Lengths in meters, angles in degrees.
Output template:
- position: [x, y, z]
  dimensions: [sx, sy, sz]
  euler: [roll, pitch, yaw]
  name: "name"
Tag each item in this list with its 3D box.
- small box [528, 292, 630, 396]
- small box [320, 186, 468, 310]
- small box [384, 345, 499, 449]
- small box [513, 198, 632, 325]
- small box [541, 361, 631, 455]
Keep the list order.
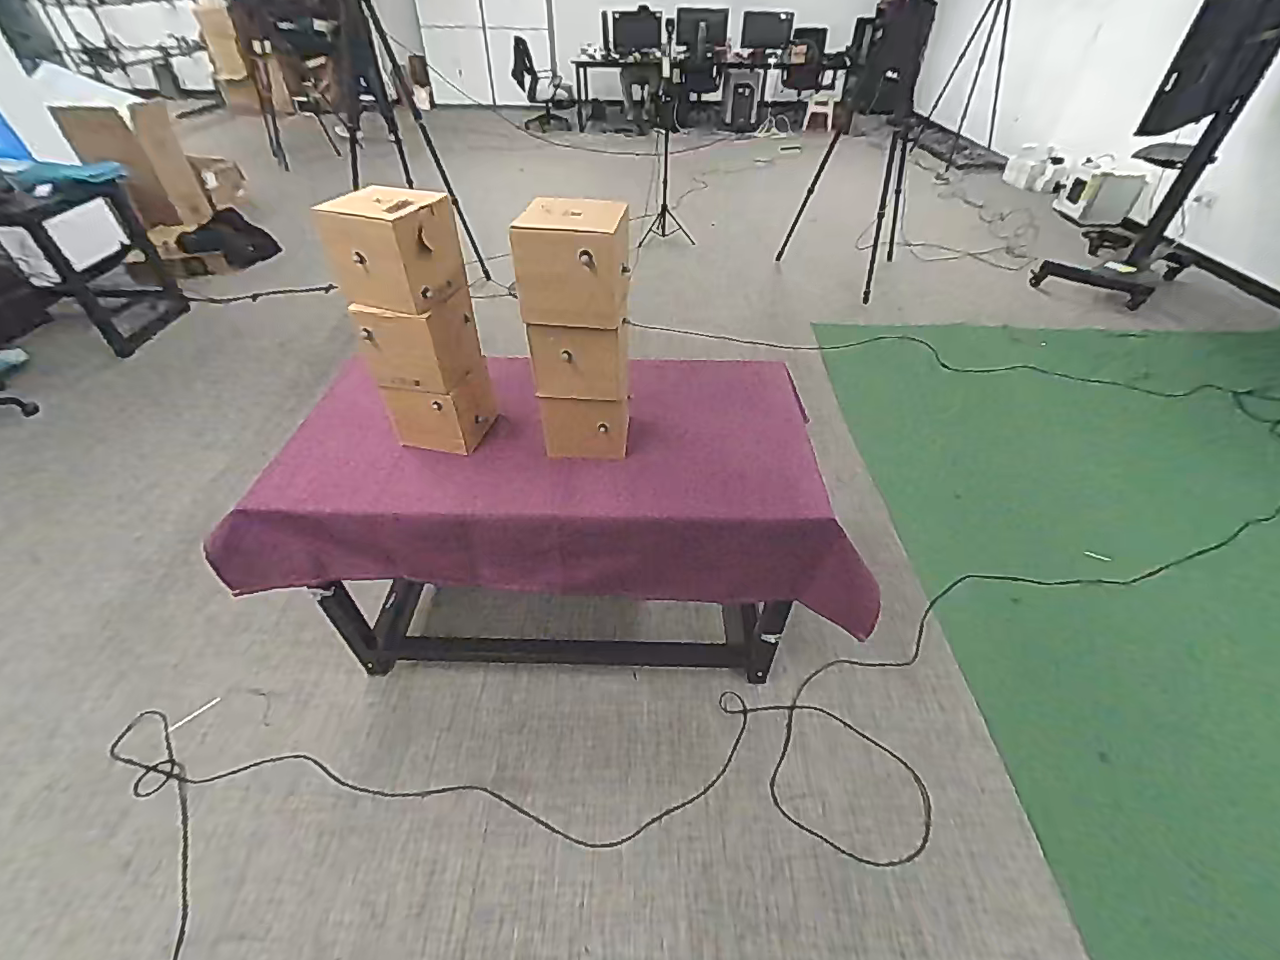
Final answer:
- position: [-0.116, -0.287, 1.112]
  dimensions: [0.179, 0.176, 0.168]
  euler: [4, 43, 4]
  name: "small box"
- position: [-0.455, -0.442, 1.034]
  dimensions: [0.179, 0.176, 0.168]
  euler: [14, 43, 14]
  name: "small box"
- position: [-0.447, -0.189, 1.245]
  dimensions: [0.179, 0.176, 0.168]
  euler: [9, 43, 8]
  name: "small box"
- position: [-0.113, -0.398, 0.990]
  dimensions: [0.179, 0.176, 0.168]
  euler: [6, 42, 6]
  name: "small box"
- position: [-0.114, -0.171, 1.229]
  dimensions: [0.179, 0.176, 0.168]
  euler: [2, 42, 2]
  name: "small box"
